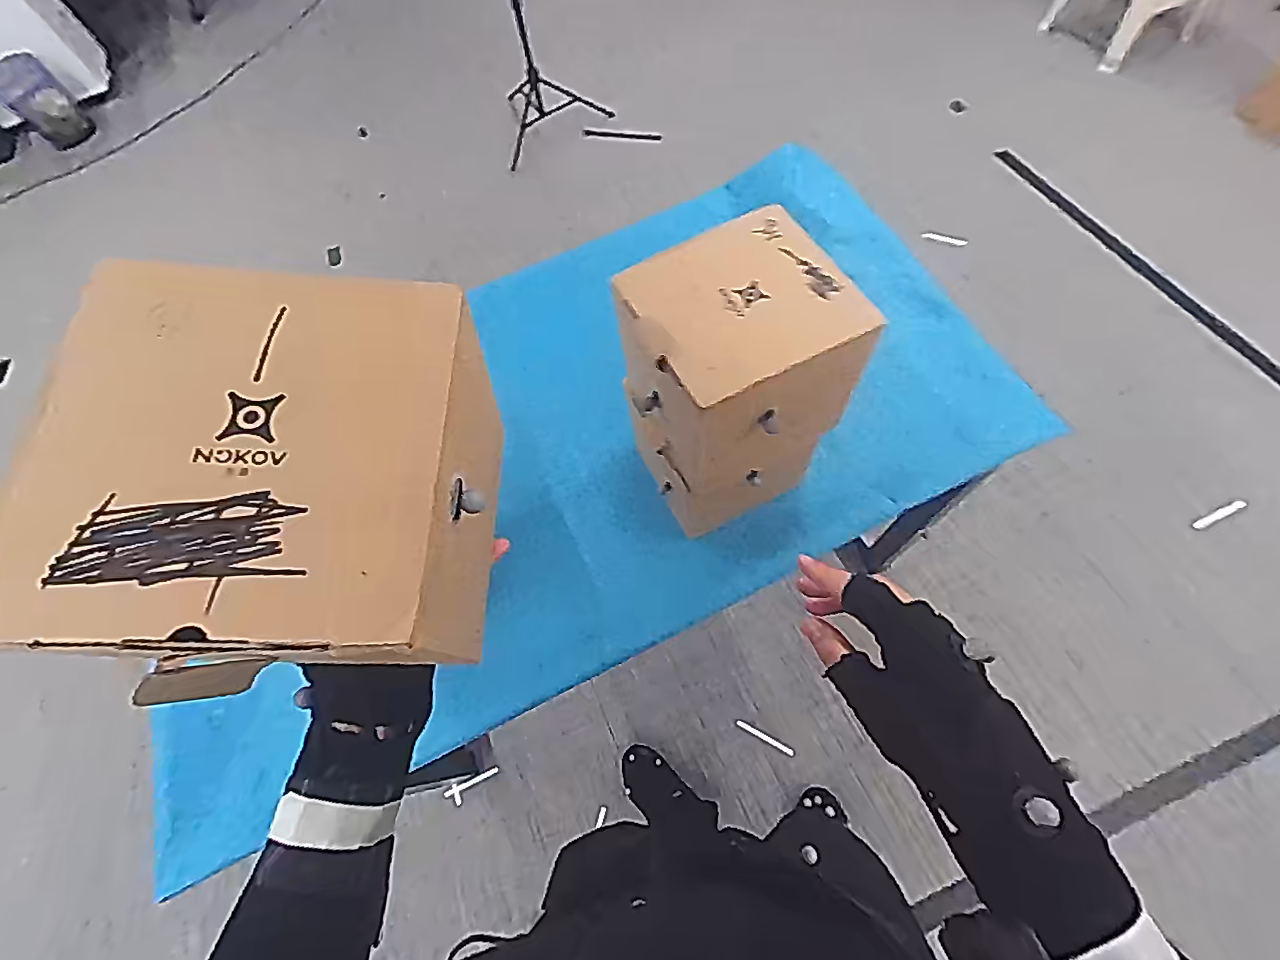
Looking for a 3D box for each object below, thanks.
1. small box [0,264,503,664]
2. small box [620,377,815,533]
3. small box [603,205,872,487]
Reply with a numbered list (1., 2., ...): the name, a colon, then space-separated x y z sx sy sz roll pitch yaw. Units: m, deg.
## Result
1. small box: -0.177 0.010 0.306 0.168 0.176 0.179 3 70 -5
2. small box: 0.096 -0.056 0.680 0.179 0.176 0.168 -26 66 -5
3. small box: 0.087 -0.120 0.531 0.179 0.176 0.168 -29 66 -7
